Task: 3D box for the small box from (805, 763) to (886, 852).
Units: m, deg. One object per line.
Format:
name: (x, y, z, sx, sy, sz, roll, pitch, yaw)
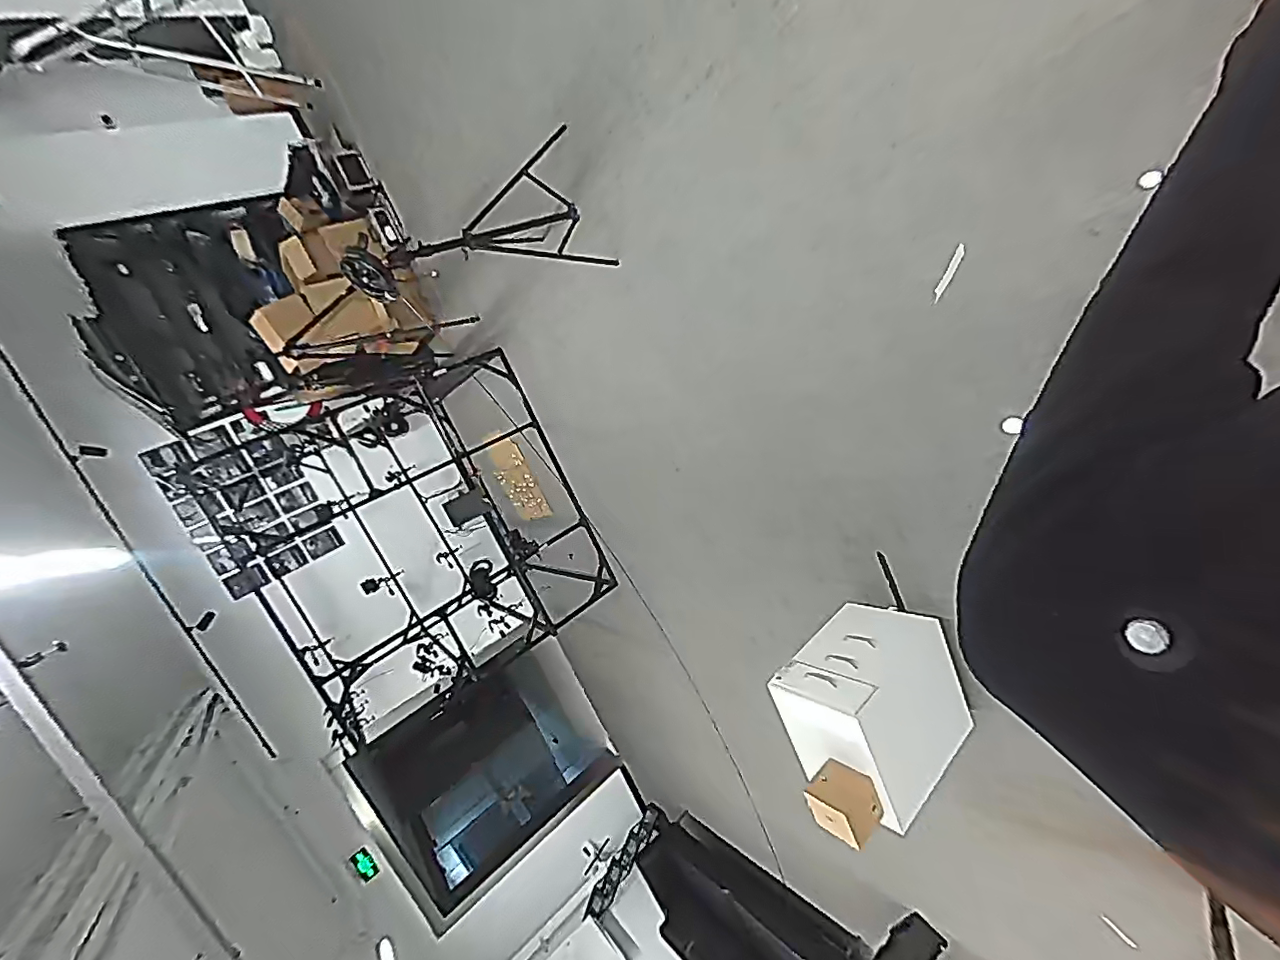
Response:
small box: (0.709, 1.117, 1.864, 0.179, 0.176, 0.168, -2, 116, 57)
